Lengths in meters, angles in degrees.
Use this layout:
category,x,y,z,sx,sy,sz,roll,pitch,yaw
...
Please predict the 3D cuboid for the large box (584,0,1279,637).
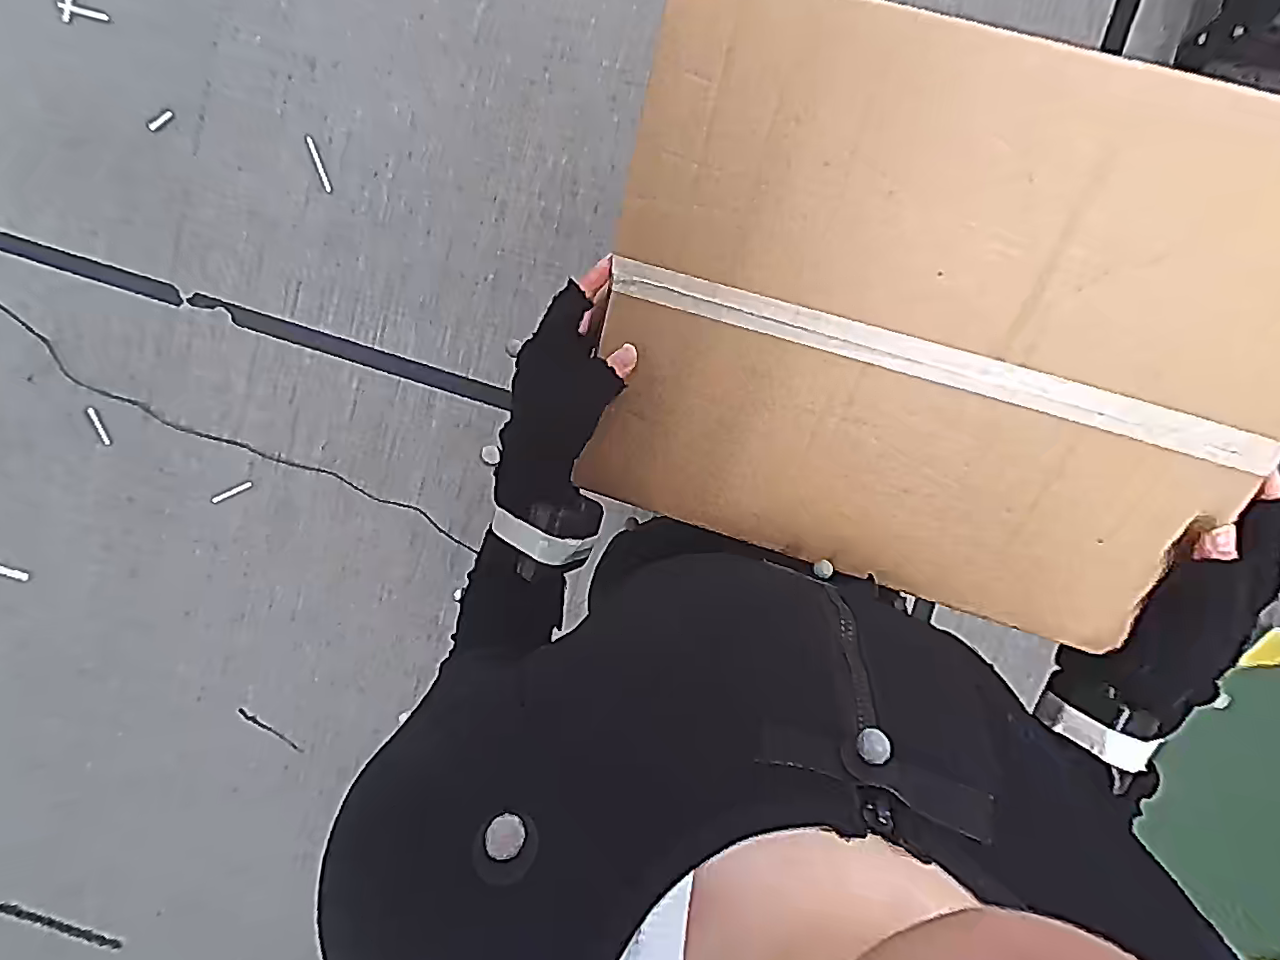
category,x,y,z,sx,sy,sz,roll,pitch,yaw
large box,0.205,-0.134,0.472,0.408,0.320,0.320,18,116,4
